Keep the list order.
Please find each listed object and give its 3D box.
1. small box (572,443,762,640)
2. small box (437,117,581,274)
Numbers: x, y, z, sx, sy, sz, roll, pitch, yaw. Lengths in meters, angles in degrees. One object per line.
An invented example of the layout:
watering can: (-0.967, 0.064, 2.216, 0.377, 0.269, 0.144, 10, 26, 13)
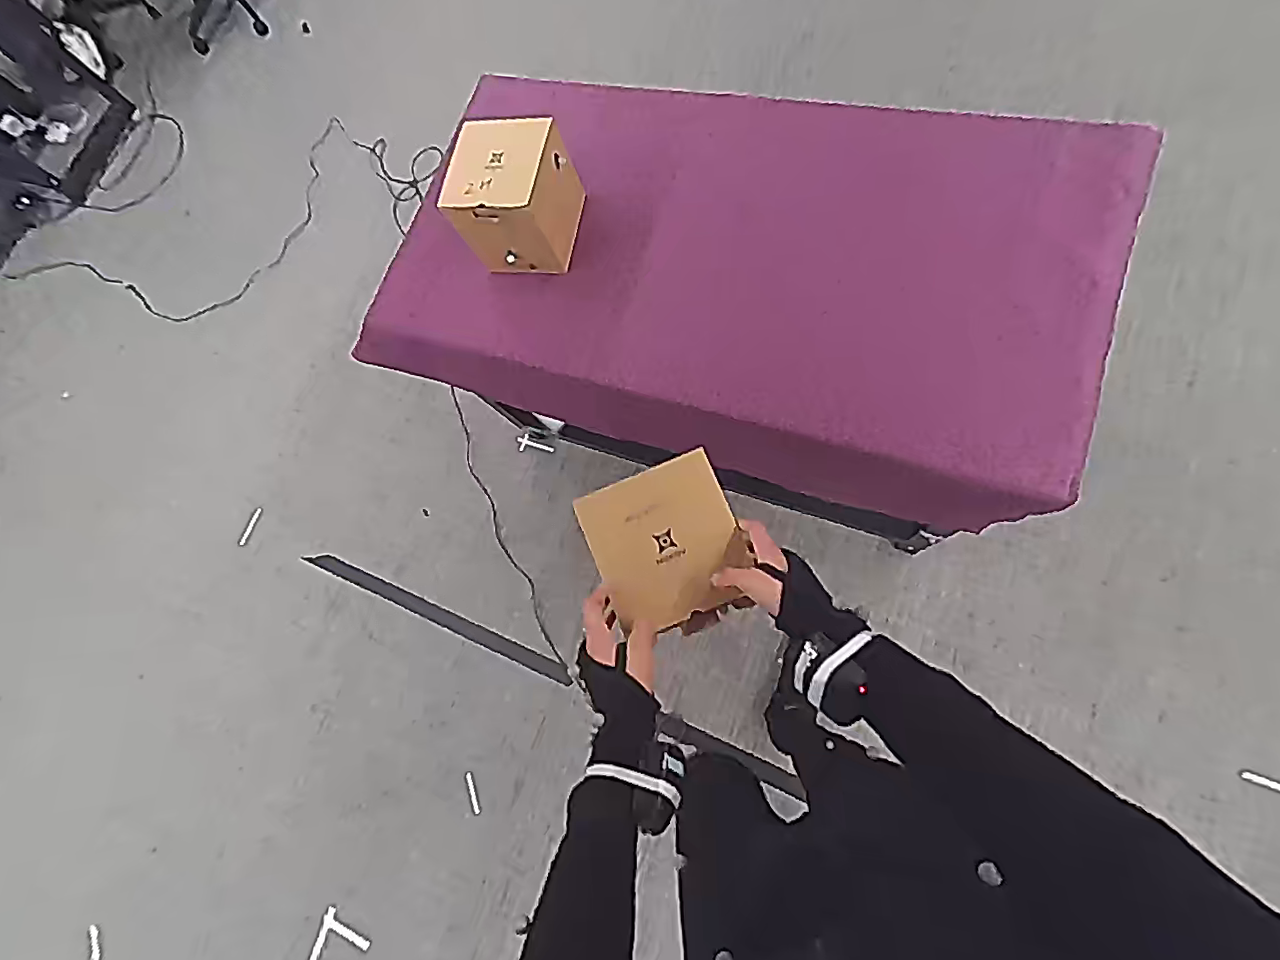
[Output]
small box: (0.033, 0.077, 0.674, 0.168, 0.176, 0.179, -22, 80, -2)
small box: (-0.214, -0.486, 0.937, 0.168, 0.176, 0.179, 8, 78, 16)
